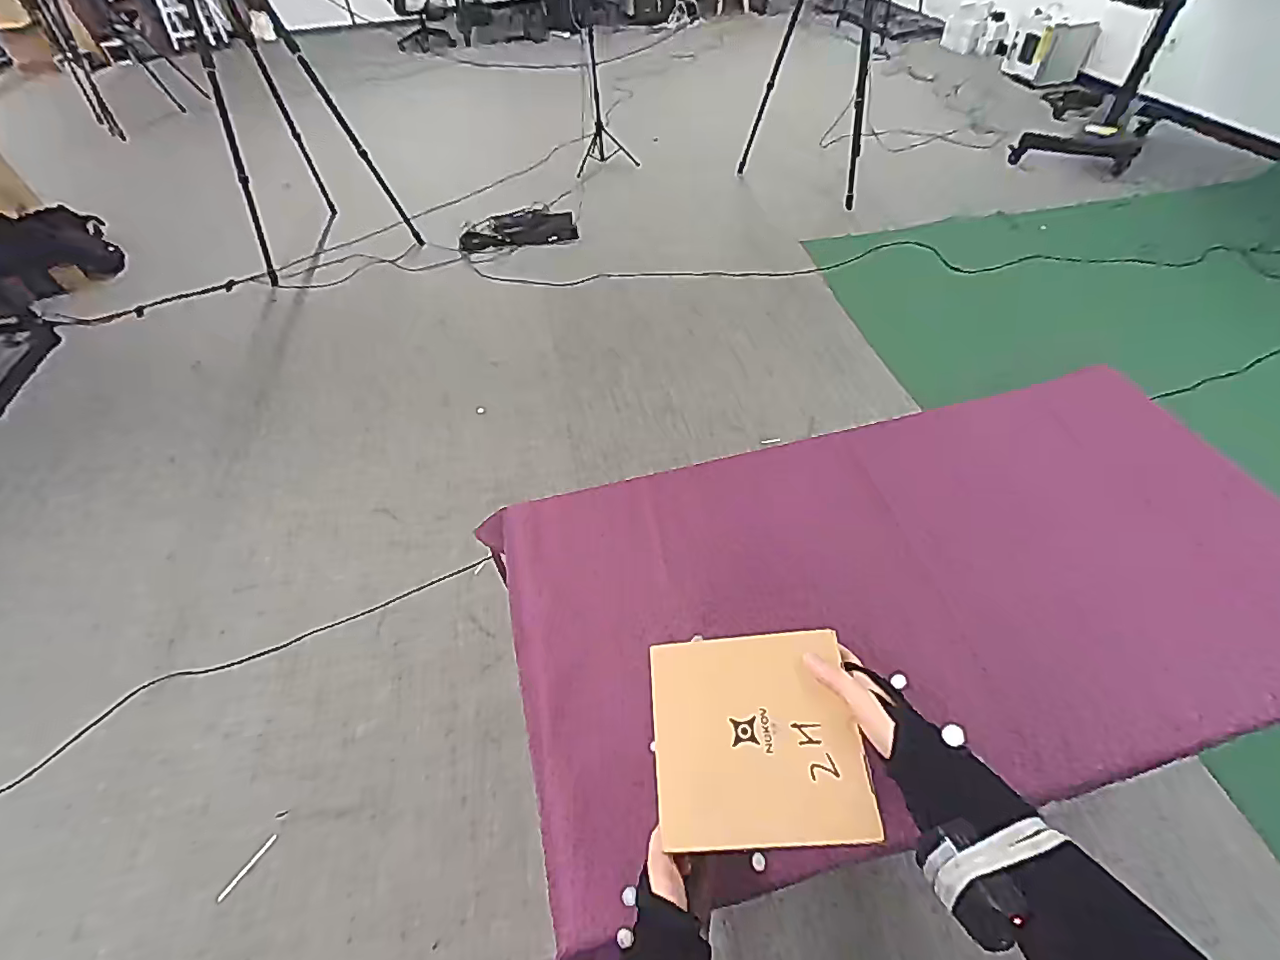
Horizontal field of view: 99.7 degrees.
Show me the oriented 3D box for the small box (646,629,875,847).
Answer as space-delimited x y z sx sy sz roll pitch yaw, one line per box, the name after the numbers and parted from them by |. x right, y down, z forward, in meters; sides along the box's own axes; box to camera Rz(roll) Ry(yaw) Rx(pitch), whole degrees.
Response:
0.108 0.261 0.534 0.179 0.176 0.168 -8 56 7 | small box
